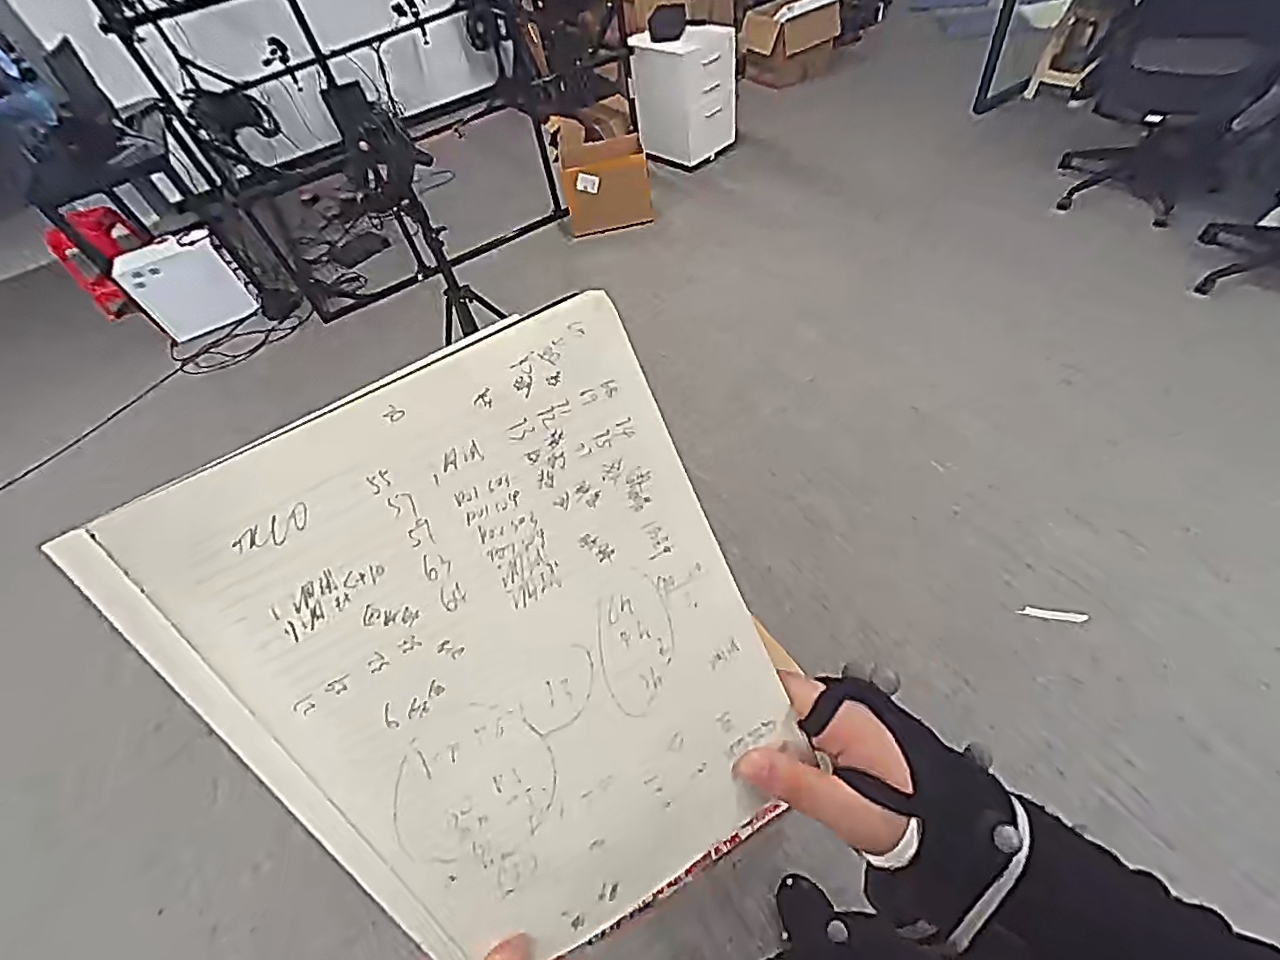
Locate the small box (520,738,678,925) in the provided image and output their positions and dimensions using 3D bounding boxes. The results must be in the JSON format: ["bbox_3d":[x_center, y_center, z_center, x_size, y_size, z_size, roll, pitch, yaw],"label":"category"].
[{"bbox_3d":[-0.052,0.515,0.804,0.179,0.176,0.168,-26,54,-8],"label":"small box"}]

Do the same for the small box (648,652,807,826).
[{"bbox_3d":[0.131,0.410,0.854,0.179,0.176,0.168,-31,55,-15],"label":"small box"}]
